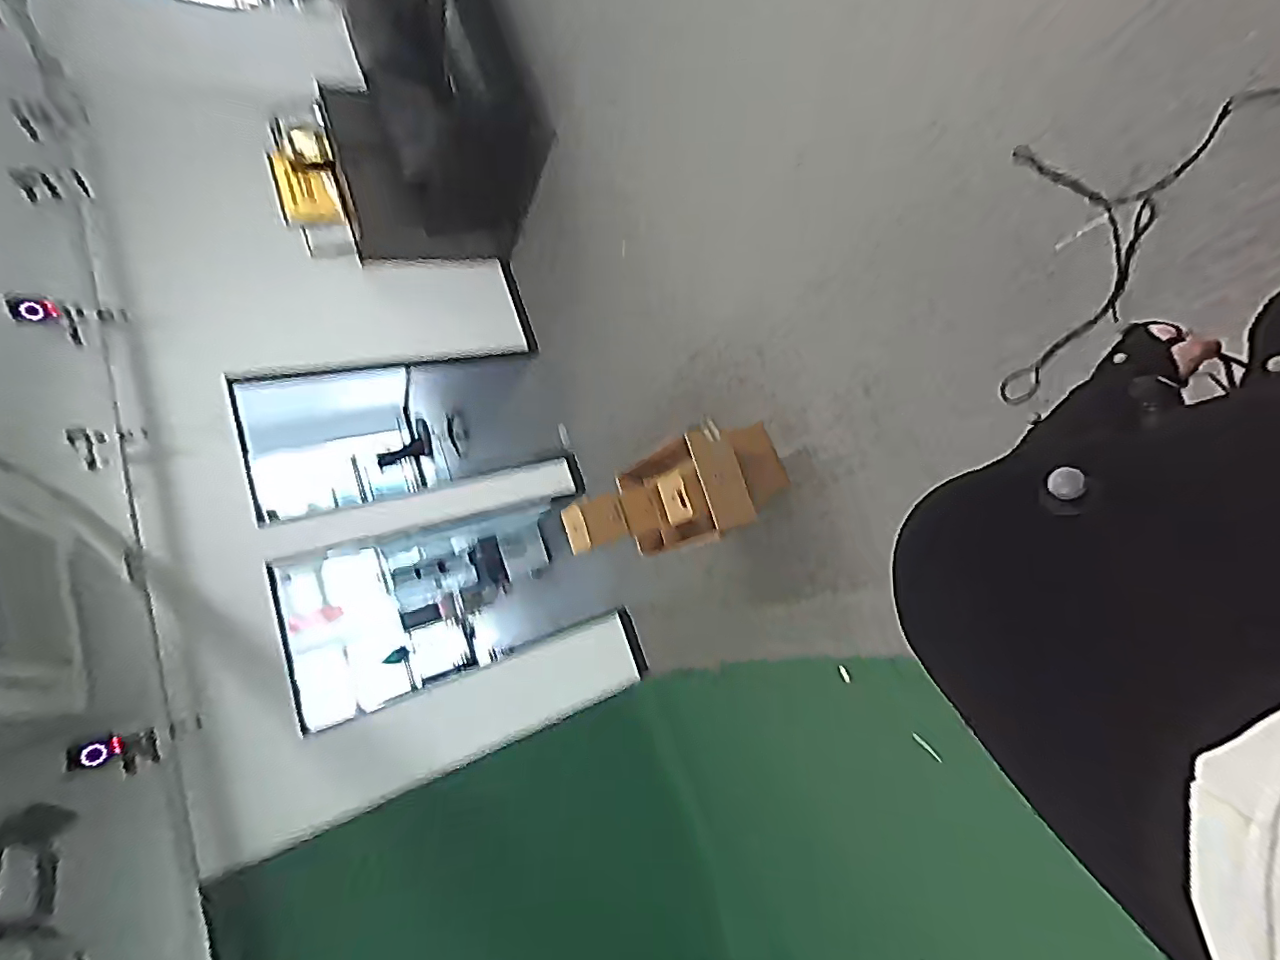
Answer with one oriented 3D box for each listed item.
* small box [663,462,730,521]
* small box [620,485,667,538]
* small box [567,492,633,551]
[{"bbox_3d":[0.217,0.042,2.024,0.179,0.176,0.168,-30,75,62],"label":"small box"},{"bbox_3d":[-0.020,0.130,2.149,0.179,0.176,0.168,-29,76,57],"label":"small box"},{"bbox_3d":[-0.151,0.158,2.052,0.179,0.176,0.168,-32,74,57],"label":"small box"}]
